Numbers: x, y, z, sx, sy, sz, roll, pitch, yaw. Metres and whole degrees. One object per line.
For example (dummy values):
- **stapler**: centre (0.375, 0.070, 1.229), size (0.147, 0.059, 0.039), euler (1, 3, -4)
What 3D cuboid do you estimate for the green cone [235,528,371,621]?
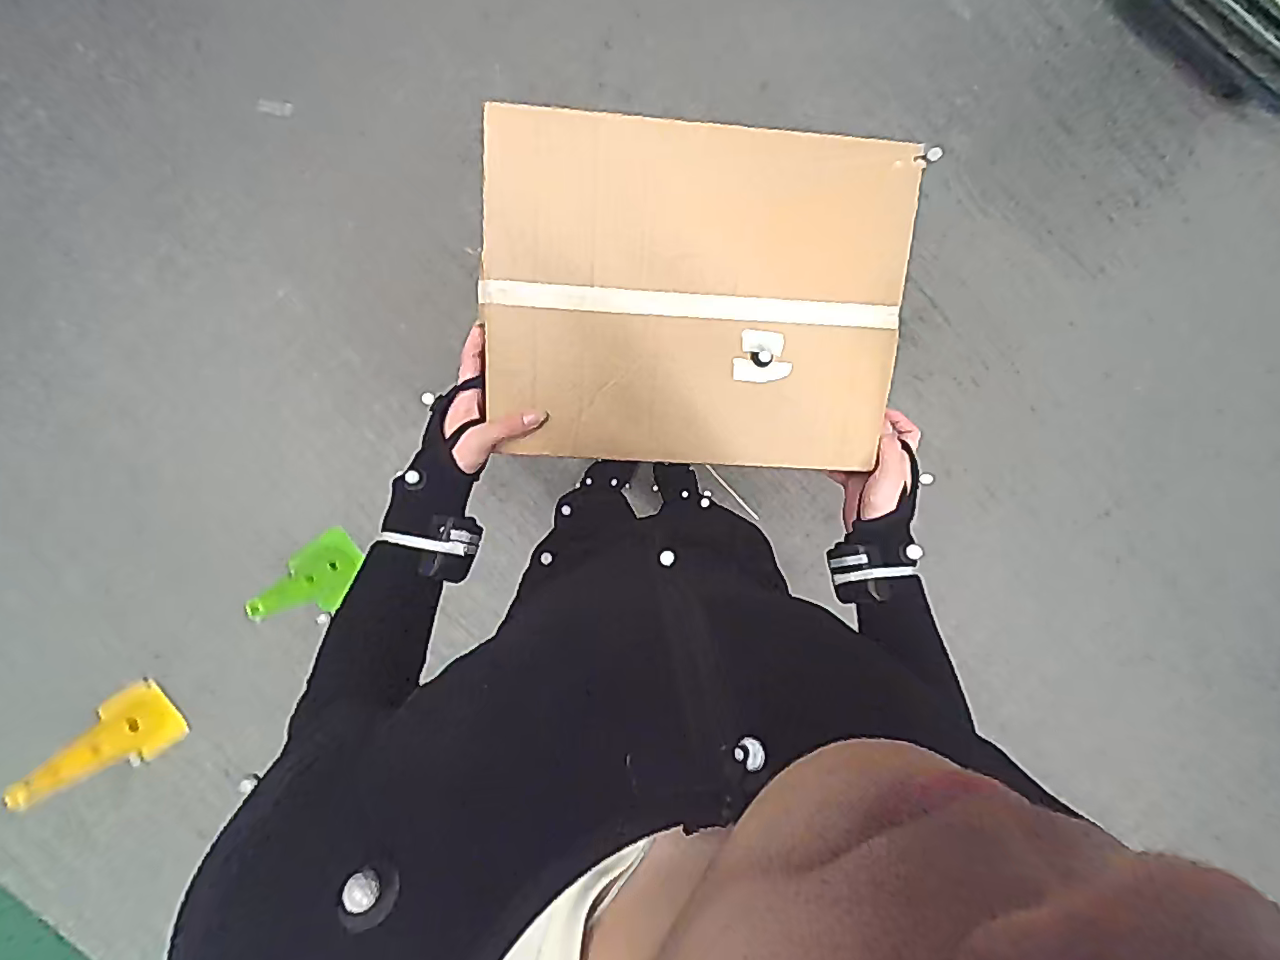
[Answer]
- **green cone**: centre (-0.927, 0.287, 1.438), size (0.202, 0.368, 0.200), euler (-36, 95, 3)

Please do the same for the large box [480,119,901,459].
- **large box**: centre (0.036, -0.205, 0.676), size (0.408, 0.320, 0.320), euler (1, 104, -5)
